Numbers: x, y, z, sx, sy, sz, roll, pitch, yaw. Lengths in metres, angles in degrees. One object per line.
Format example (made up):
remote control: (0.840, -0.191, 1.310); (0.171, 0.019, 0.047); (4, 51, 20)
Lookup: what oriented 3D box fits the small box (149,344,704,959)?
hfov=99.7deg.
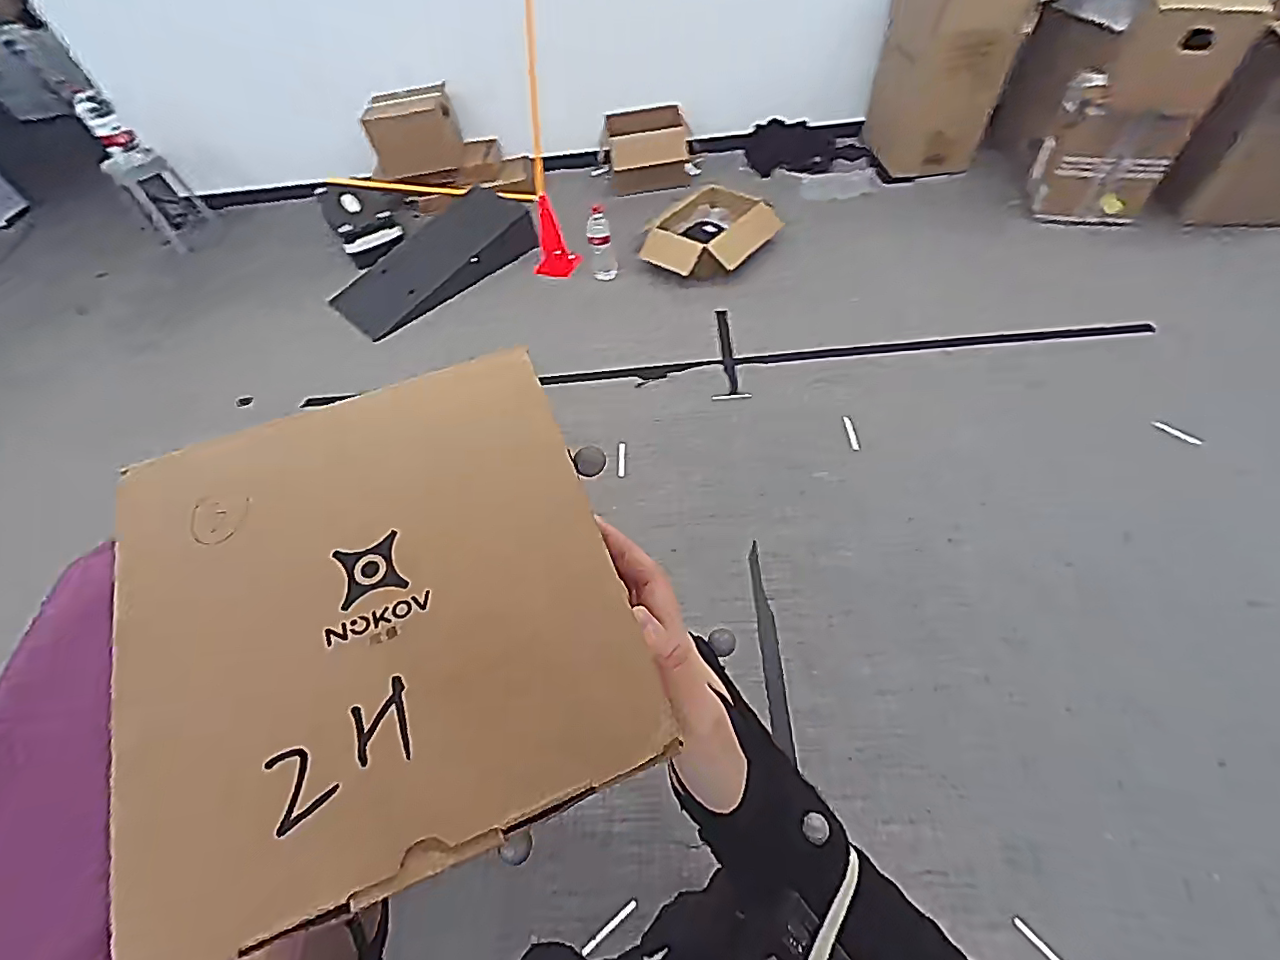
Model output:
small box: (-0.085, 0.070, 0.266); (0.168, 0.176, 0.179); (-20, 66, -9)
